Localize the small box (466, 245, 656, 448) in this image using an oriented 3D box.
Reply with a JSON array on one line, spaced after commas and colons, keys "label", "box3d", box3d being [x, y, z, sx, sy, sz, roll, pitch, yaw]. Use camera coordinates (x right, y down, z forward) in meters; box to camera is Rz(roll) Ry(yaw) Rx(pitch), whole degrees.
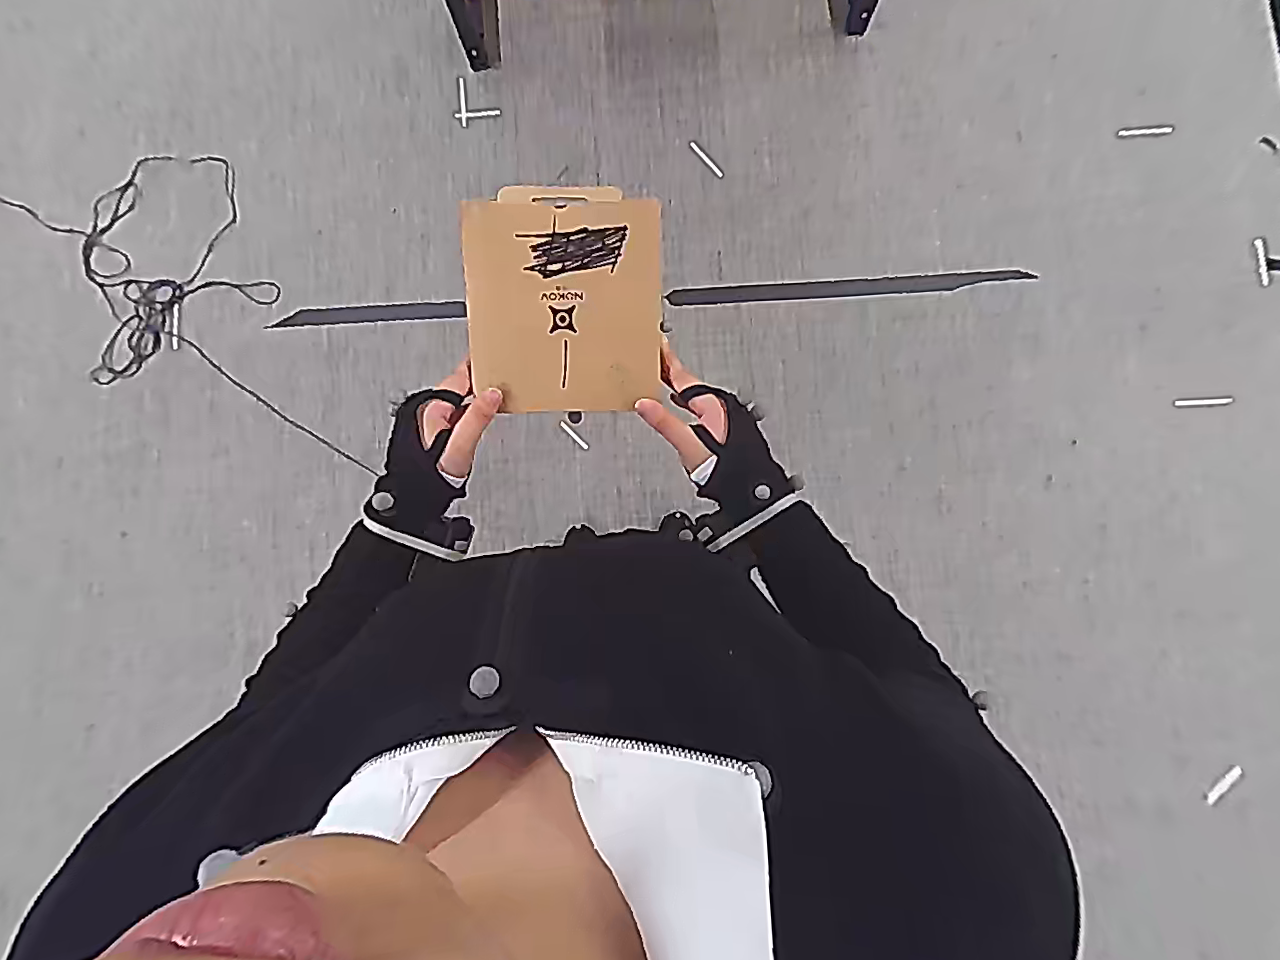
[{"label": "small box", "box3d": [-0.071, -0.128, 0.555, 0.168, 0.176, 0.179, 0, 100, -1]}]
